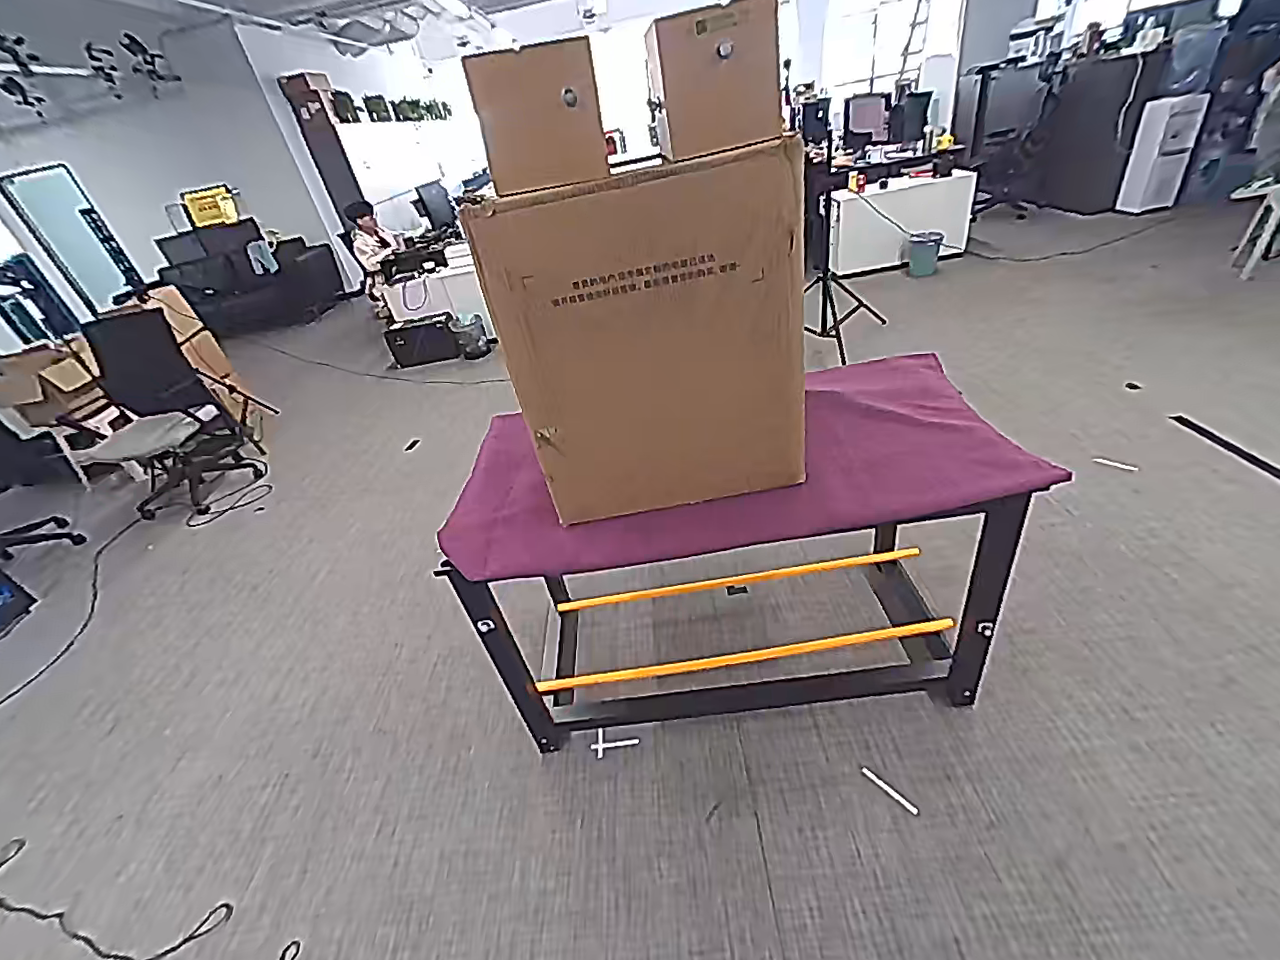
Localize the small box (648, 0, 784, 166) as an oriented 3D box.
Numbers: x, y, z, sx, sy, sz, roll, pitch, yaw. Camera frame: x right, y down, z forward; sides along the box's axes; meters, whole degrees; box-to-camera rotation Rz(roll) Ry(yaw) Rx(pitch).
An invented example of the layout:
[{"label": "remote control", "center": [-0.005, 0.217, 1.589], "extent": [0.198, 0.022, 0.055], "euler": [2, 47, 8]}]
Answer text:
[{"label": "small box", "center": [0.110, -0.591, 0.813], "extent": [0.168, 0.176, 0.179], "euler": [-12, 34, 3]}]
